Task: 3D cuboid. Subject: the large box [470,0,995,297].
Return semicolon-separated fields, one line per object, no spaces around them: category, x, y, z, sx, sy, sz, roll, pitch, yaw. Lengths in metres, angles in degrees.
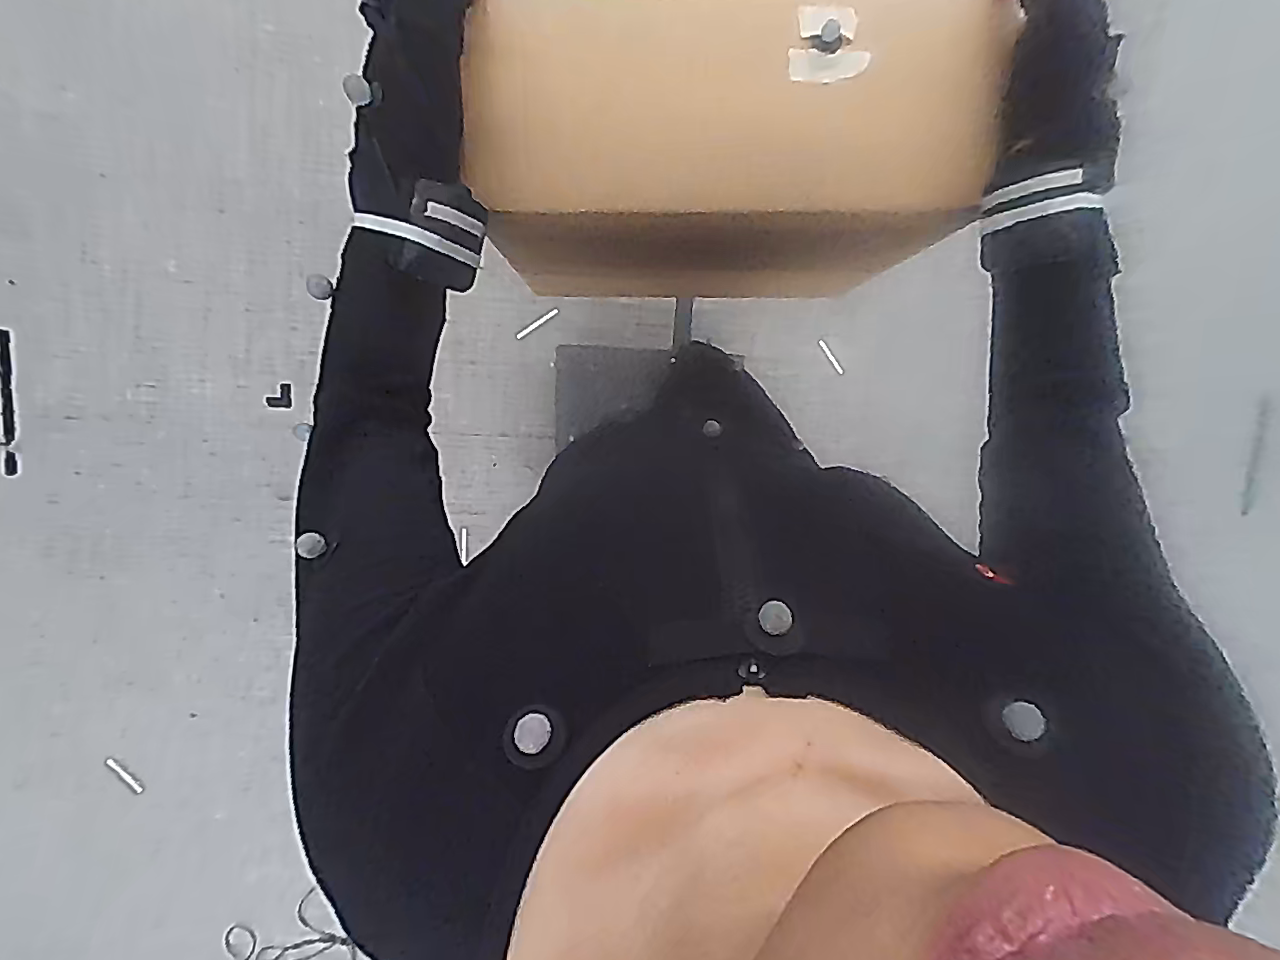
large box;0.066;-0.382;0.553;0.408;0.320;0.320;-1;97;-1
